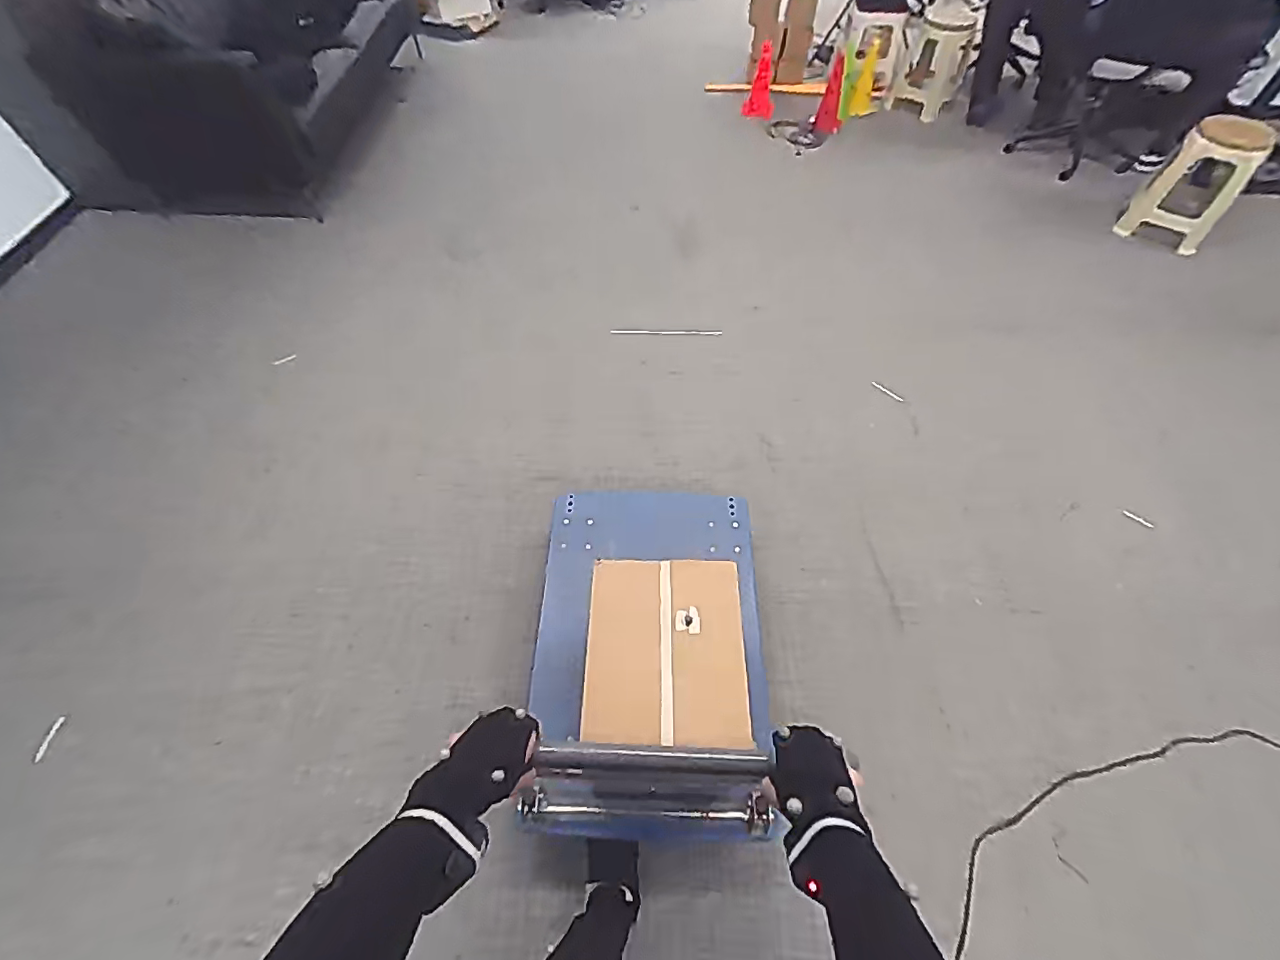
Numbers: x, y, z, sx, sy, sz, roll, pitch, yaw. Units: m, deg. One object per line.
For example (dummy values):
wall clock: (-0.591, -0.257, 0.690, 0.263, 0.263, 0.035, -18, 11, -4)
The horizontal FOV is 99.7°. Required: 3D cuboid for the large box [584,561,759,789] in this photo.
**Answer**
large box: (0.059, 0.426, 1.175, 0.320, 0.320, 0.408, 1, 54, 0)
